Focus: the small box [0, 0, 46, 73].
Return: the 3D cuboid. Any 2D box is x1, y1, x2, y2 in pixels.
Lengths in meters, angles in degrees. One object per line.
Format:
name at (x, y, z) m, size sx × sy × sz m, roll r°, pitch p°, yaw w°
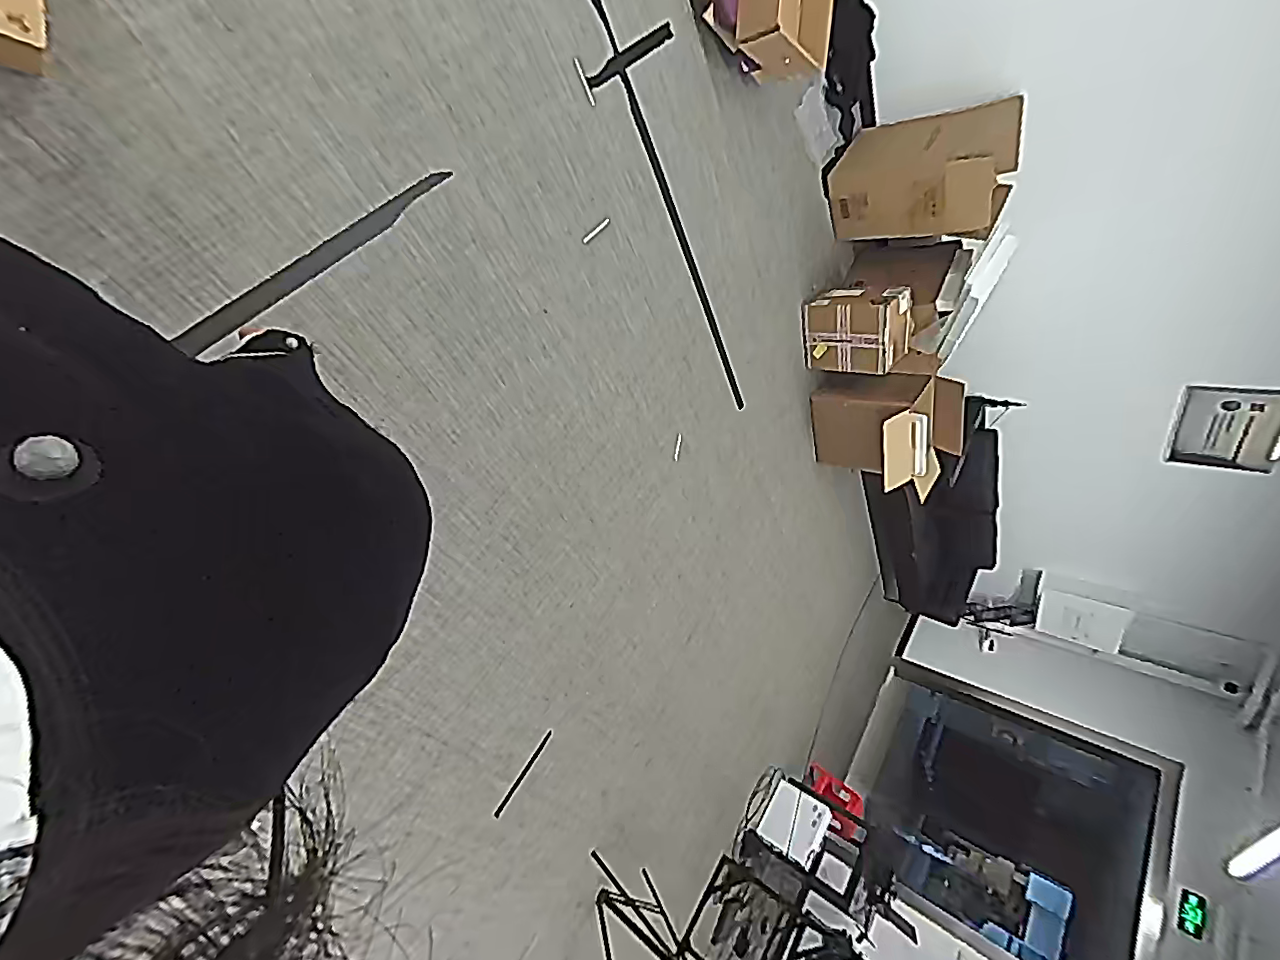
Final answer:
small box at (-1.038, -0.774, 0.825) m, size 0.168 × 0.176 × 0.179 m, roll -5°, pitch 105°, yaw -48°
